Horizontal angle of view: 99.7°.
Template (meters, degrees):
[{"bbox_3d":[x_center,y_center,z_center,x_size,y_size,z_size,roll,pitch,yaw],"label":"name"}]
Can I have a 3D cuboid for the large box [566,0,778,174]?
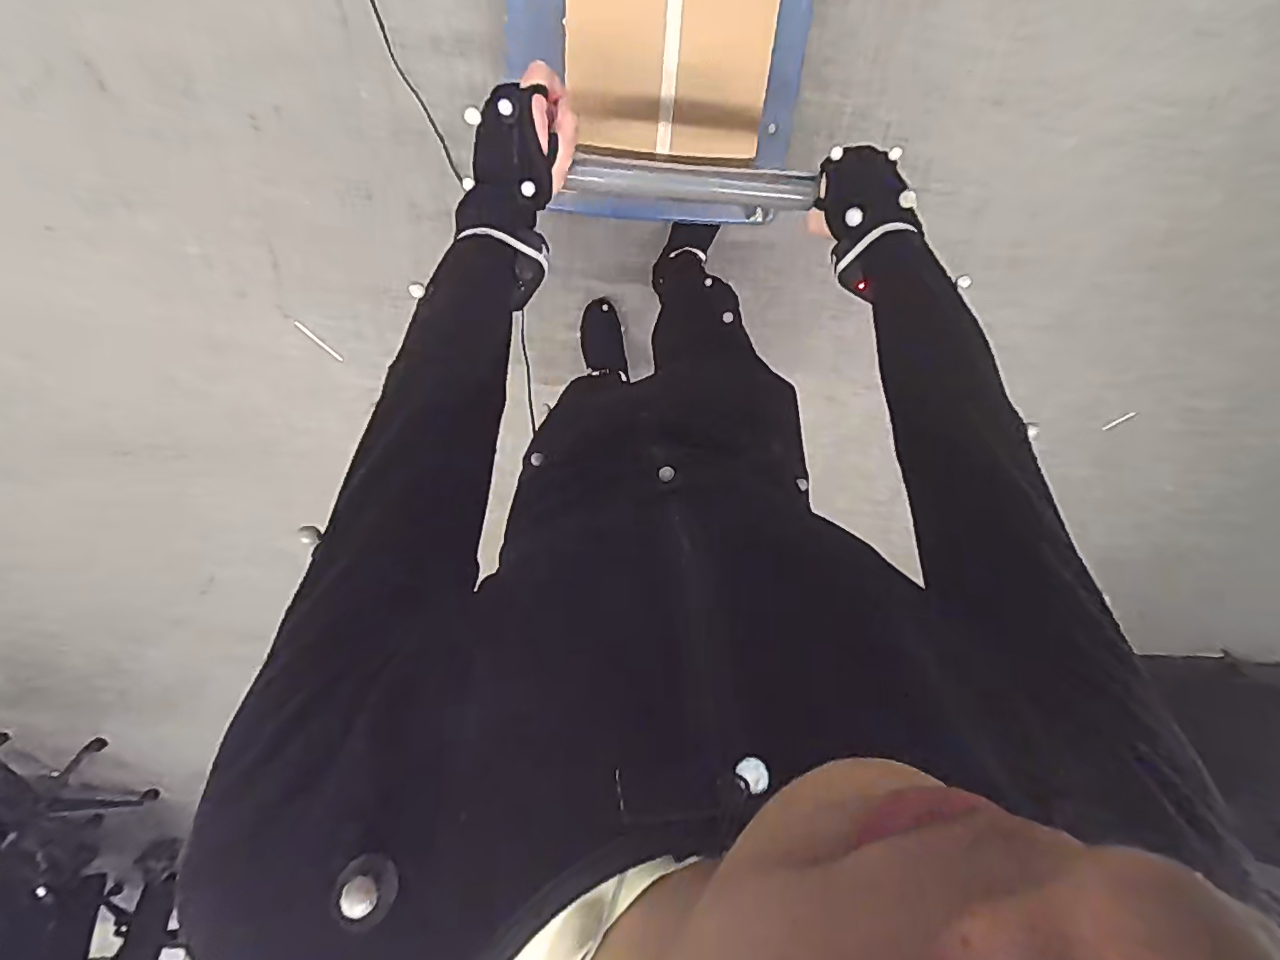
[{"bbox_3d":[0.044,-0.761,0.921,0.320,0.320,0.408,2,118,-4],"label":"large box"}]
